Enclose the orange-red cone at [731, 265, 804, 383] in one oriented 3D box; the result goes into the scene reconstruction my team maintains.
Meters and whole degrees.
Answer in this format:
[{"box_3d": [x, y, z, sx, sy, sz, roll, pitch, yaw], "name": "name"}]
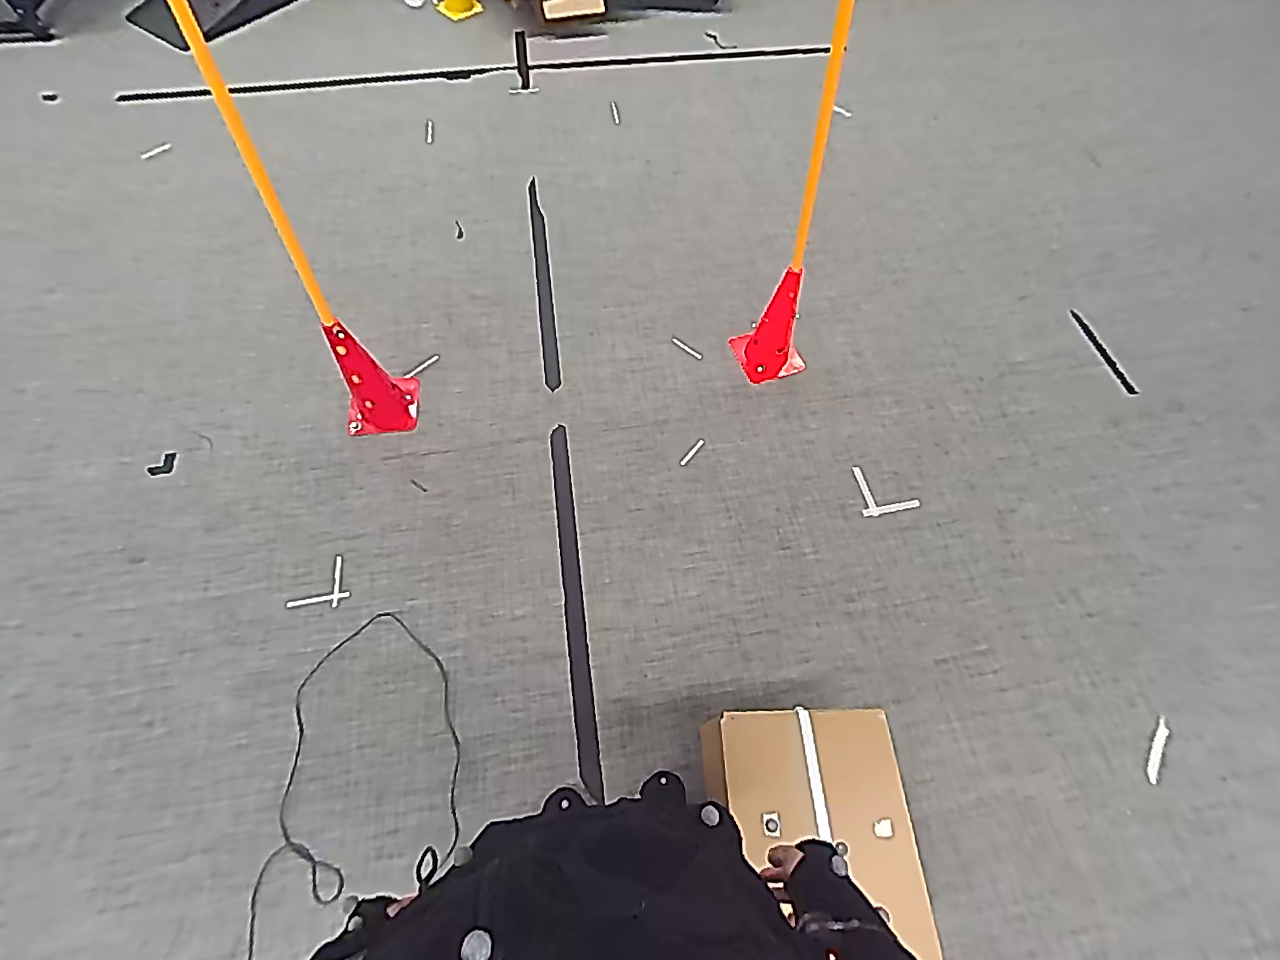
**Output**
[{"box_3d": [0.419, -0.485, 1.607, 0.199, 0.360, 0.198, -15, 65, -10], "name": "orange-red cone"}]
